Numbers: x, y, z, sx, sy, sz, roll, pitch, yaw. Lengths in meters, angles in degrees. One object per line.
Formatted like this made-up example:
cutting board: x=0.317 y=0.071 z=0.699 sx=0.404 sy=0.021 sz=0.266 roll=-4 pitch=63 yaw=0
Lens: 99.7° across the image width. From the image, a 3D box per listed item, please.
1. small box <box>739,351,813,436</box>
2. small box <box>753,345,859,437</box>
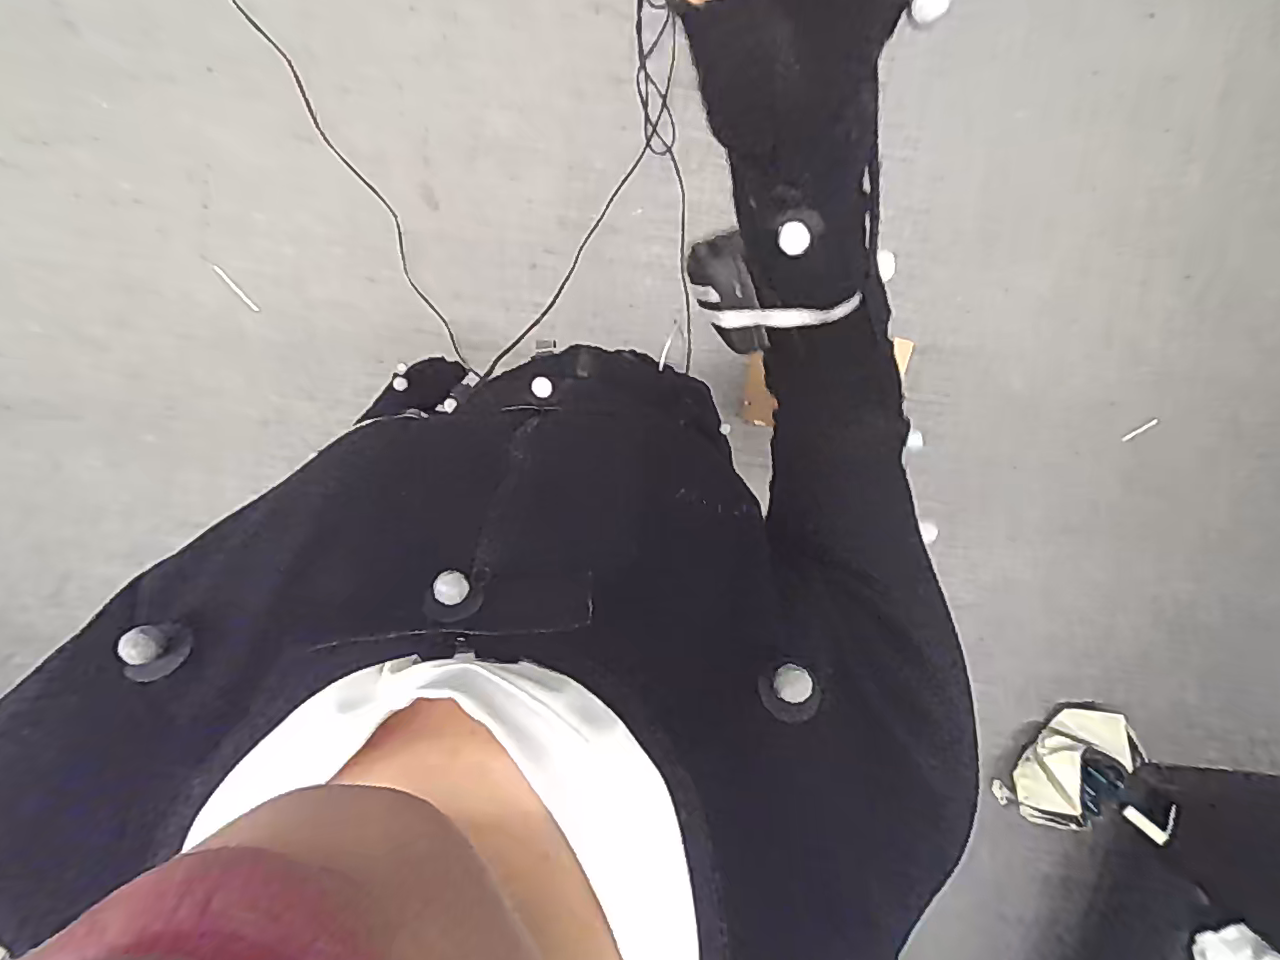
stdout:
small box: x=0.358 y=-0.223 z=1.367 sx=0.168 sy=0.176 sz=0.179 roll=9 pitch=104 yaw=-4
small box: x=0.359 y=-0.203 z=1.203 sx=0.168 sy=0.176 sz=0.179 roll=6 pitch=104 yaw=-2
